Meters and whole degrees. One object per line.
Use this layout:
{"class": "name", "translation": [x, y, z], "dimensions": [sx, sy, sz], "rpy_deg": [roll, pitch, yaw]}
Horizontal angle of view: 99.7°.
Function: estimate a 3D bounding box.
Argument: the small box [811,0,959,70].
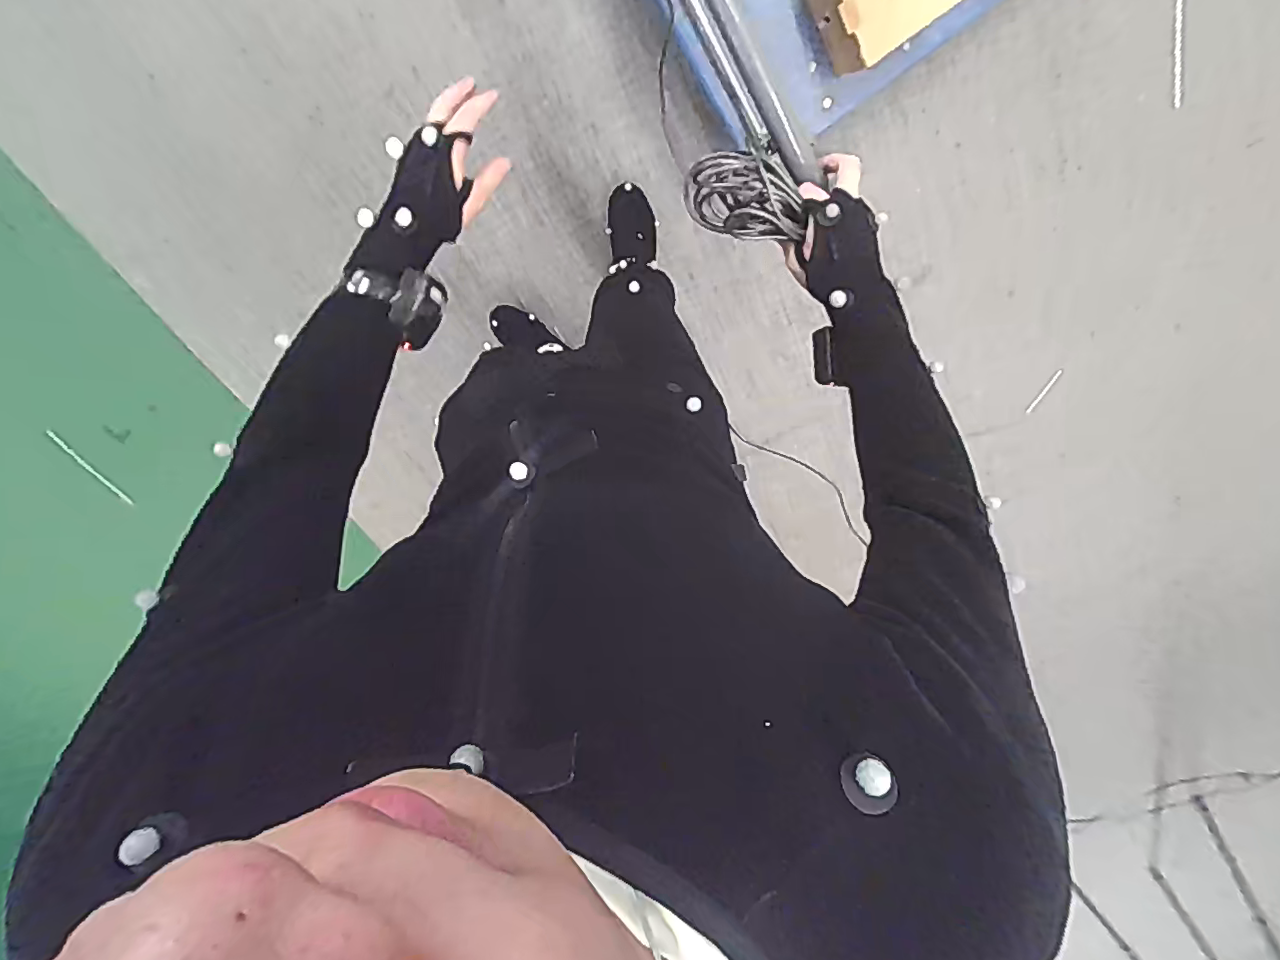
{"class": "small box", "translation": [0.411, -0.838, 0.915], "dimensions": [0.179, 0.176, 0.168], "rpy_deg": [-28, 118, 19]}
